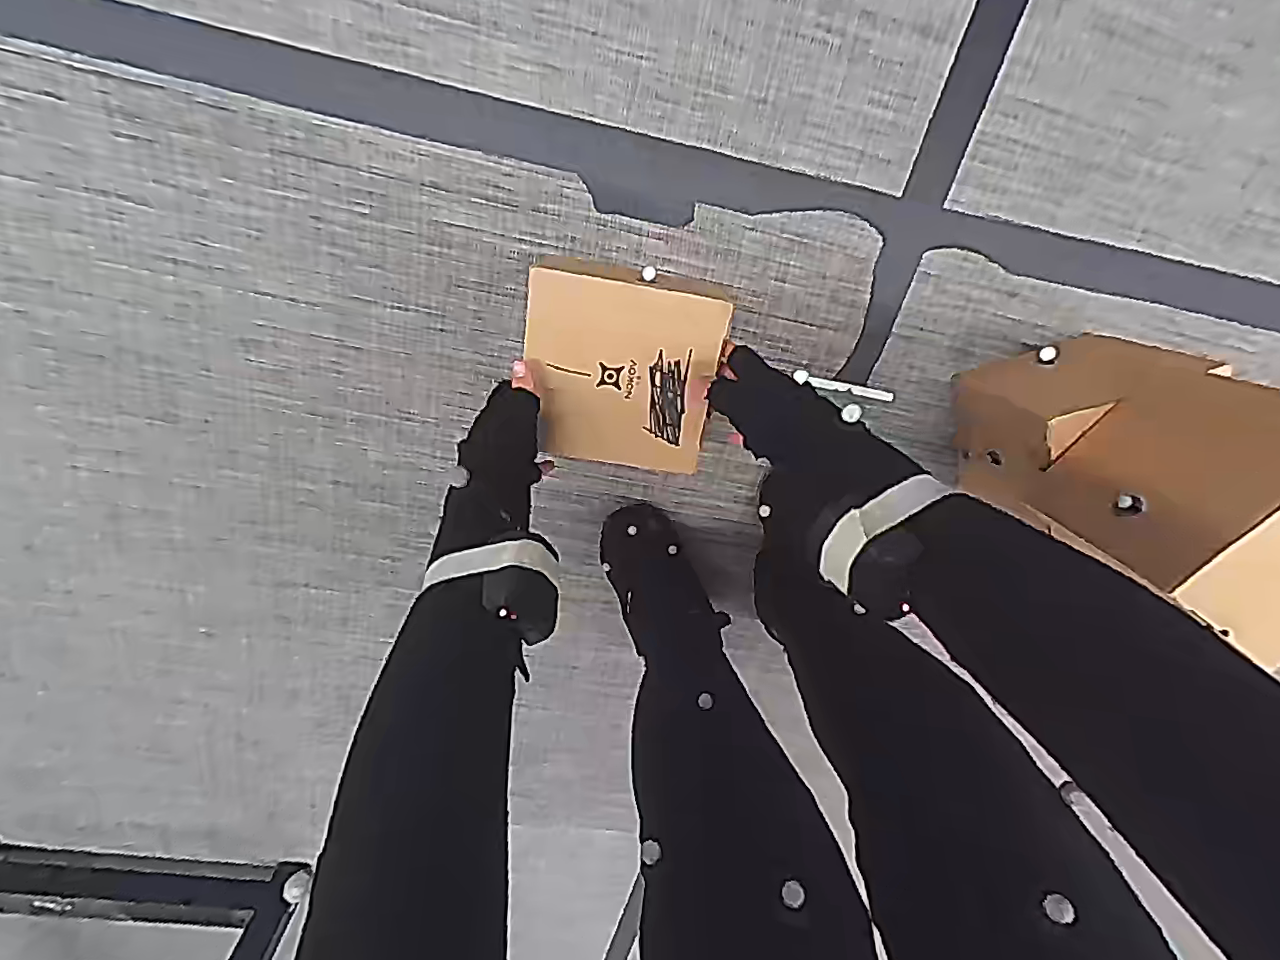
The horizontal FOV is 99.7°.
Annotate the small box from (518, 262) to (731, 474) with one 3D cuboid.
[{"bbox_3d":[-0.019,-0.123,0.554,0.179,0.176,0.168,7,116,-2],"label":"small box"}]

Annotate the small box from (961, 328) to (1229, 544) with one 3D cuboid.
[{"bbox_3d":[0.499,-0.058,0.624,0.179,0.176,0.168,-20,114,6],"label":"small box"}]

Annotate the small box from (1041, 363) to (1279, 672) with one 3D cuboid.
[{"bbox_3d":[0.509,0.025,0.480,0.168,0.176,0.179,31,110,-18],"label":"small box"}]
